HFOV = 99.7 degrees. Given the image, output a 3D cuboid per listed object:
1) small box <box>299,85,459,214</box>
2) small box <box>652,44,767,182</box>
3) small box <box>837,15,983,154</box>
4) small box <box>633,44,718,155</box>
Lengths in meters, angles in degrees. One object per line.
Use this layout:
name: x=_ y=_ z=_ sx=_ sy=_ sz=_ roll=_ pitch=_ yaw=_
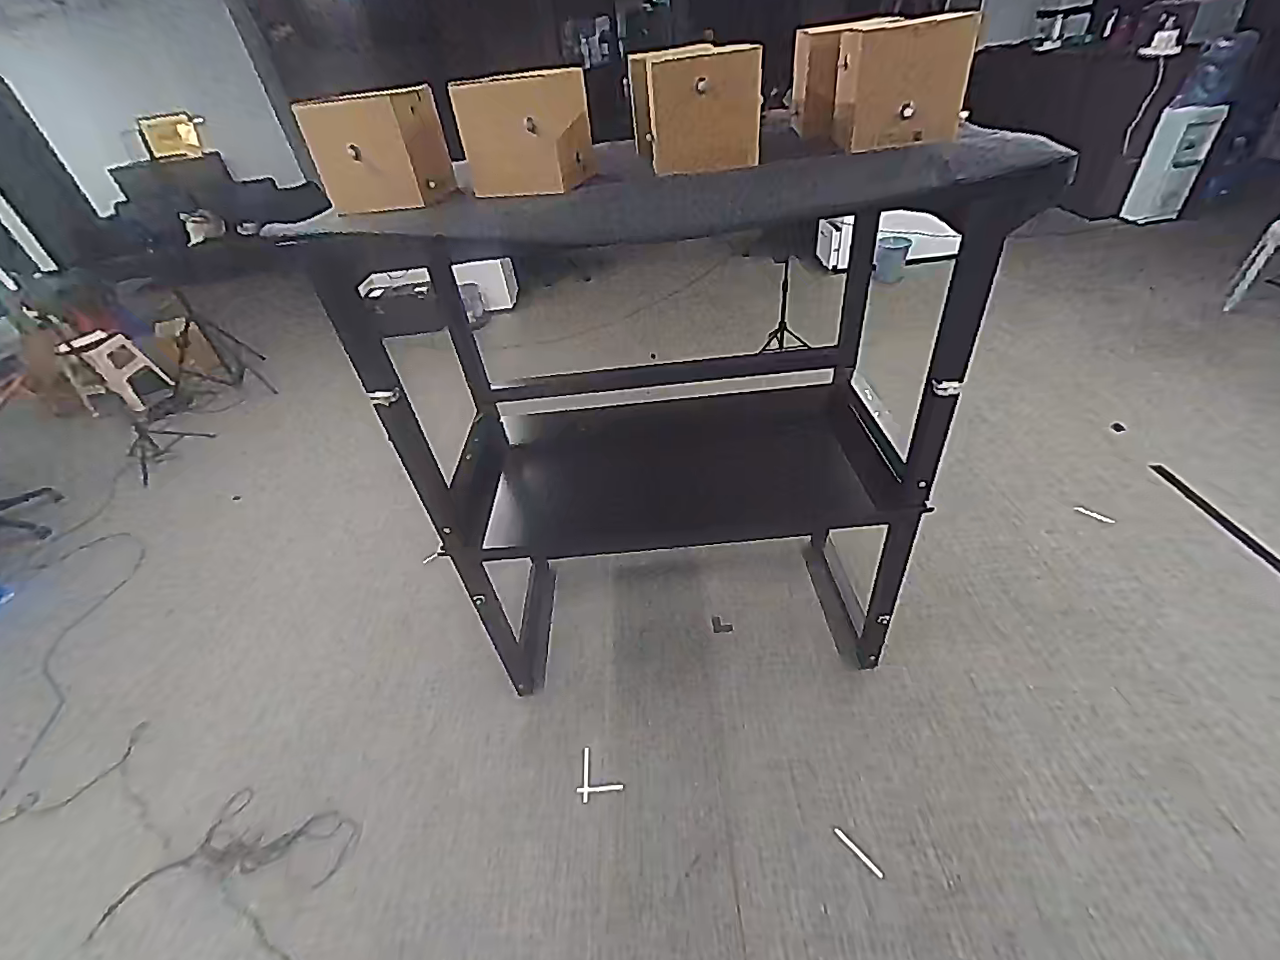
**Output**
small box: x=-0.454 y=-0.596 z=0.977 sx=0.179 sy=0.176 sz=0.168 roll=-1 pitch=39 yaw=8
small box: x=0.116 y=-0.637 z=0.941 sx=0.179 sy=0.176 sz=0.168 roll=-6 pitch=40 yaw=3
small box: x=0.438 y=-0.663 z=0.913 sx=0.168 sy=0.176 sz=0.179 roll=-1 pitch=40 yaw=9
small box: x=0.074 y=-0.795 z=1.133 sx=0.168 sy=0.176 sz=0.179 roll=-6 pitch=40 yaw=3
